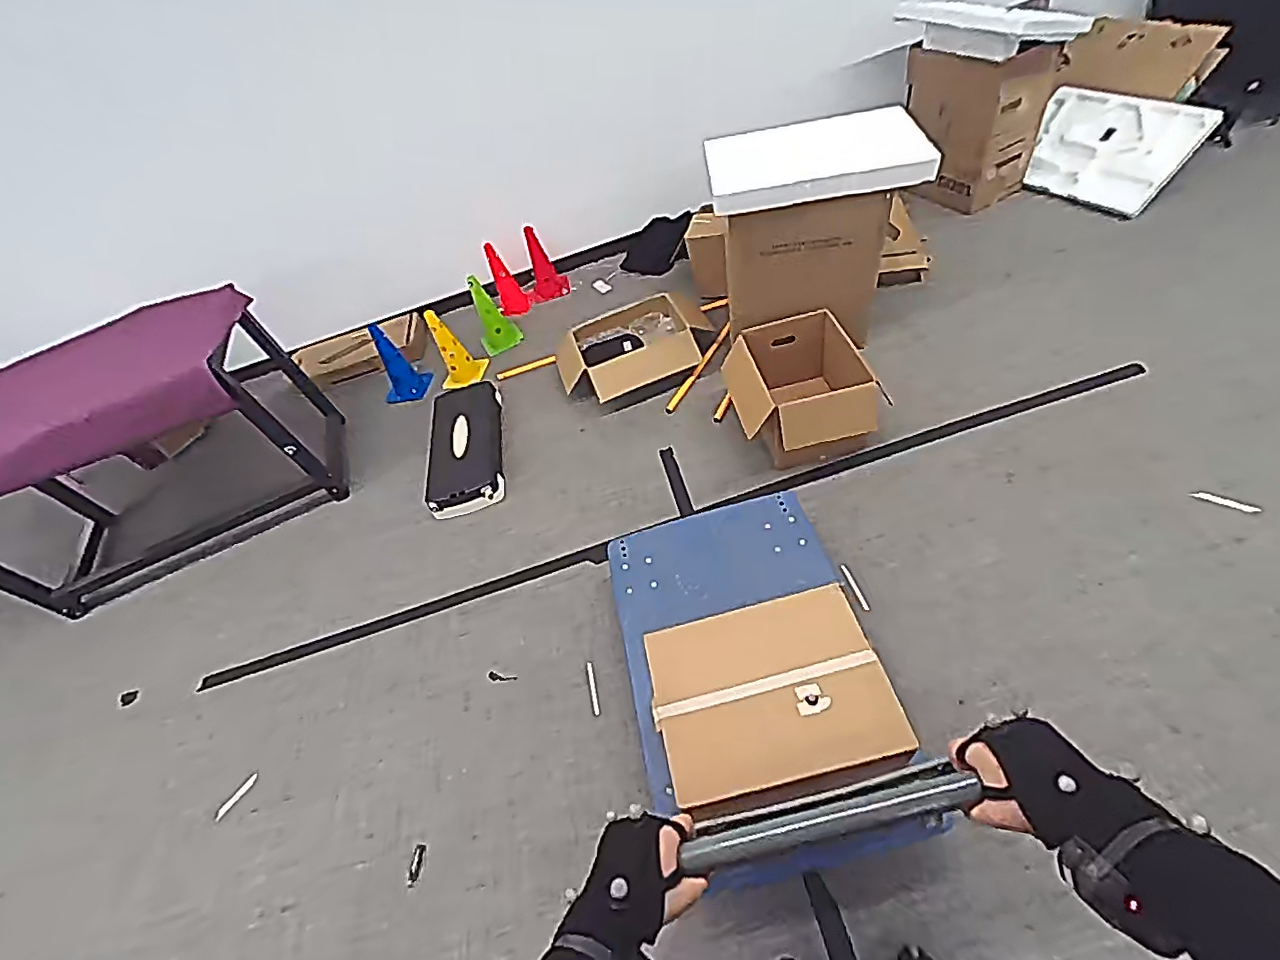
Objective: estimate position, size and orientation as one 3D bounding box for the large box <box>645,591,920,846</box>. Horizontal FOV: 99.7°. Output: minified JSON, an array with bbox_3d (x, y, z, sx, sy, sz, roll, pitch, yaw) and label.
[{"bbox_3d":[0.254,0.472,1.062,0.408,0.320,0.320,-15,49,2],"label":"large box"}]
